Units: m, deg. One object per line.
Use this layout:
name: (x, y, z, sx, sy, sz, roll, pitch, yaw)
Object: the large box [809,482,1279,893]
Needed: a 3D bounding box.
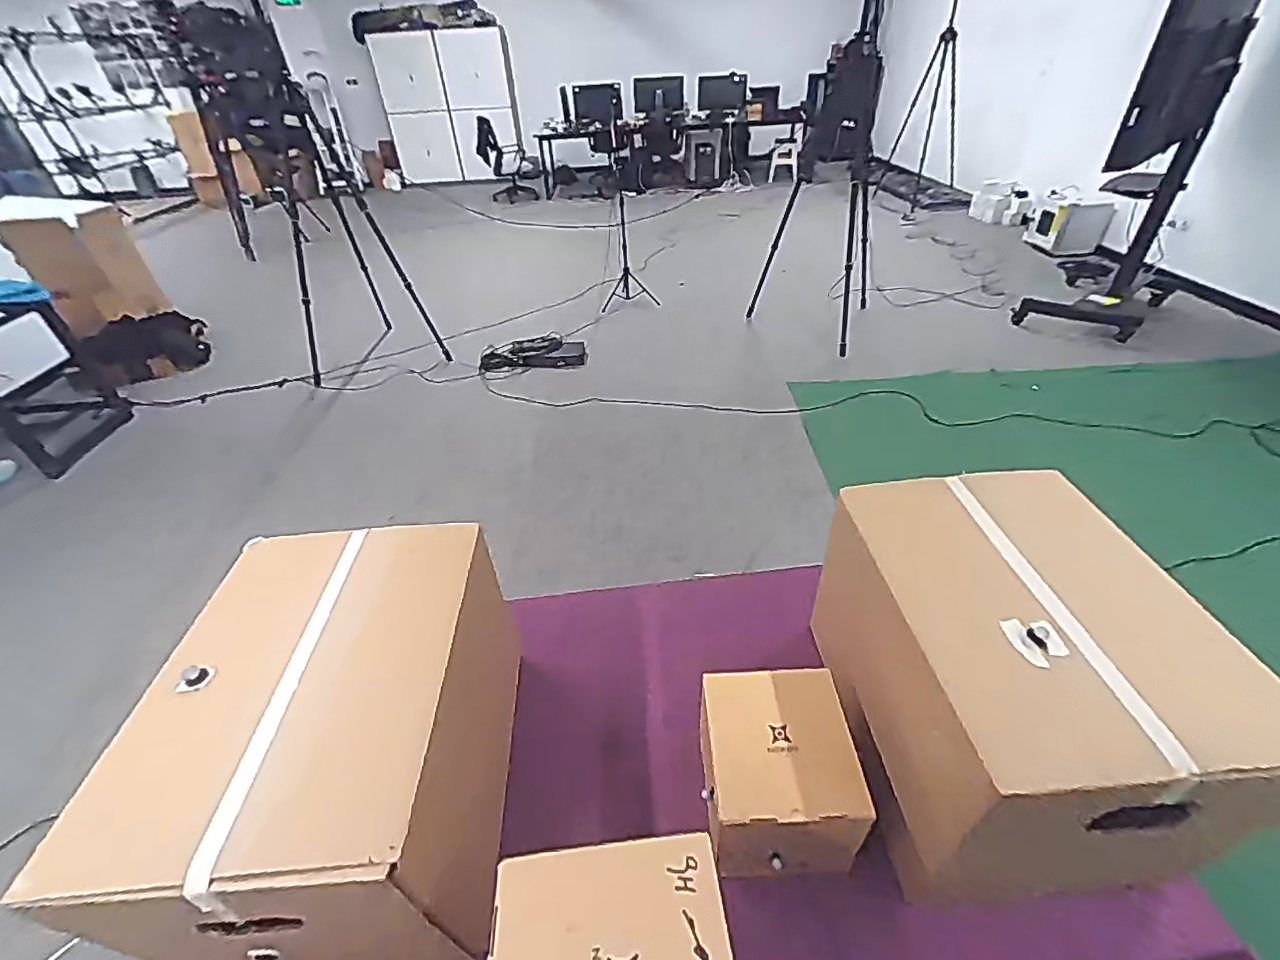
large box: (0.452, 0.249, 0.708, 0.320, 0.320, 0.408, -4, 39, 0)
